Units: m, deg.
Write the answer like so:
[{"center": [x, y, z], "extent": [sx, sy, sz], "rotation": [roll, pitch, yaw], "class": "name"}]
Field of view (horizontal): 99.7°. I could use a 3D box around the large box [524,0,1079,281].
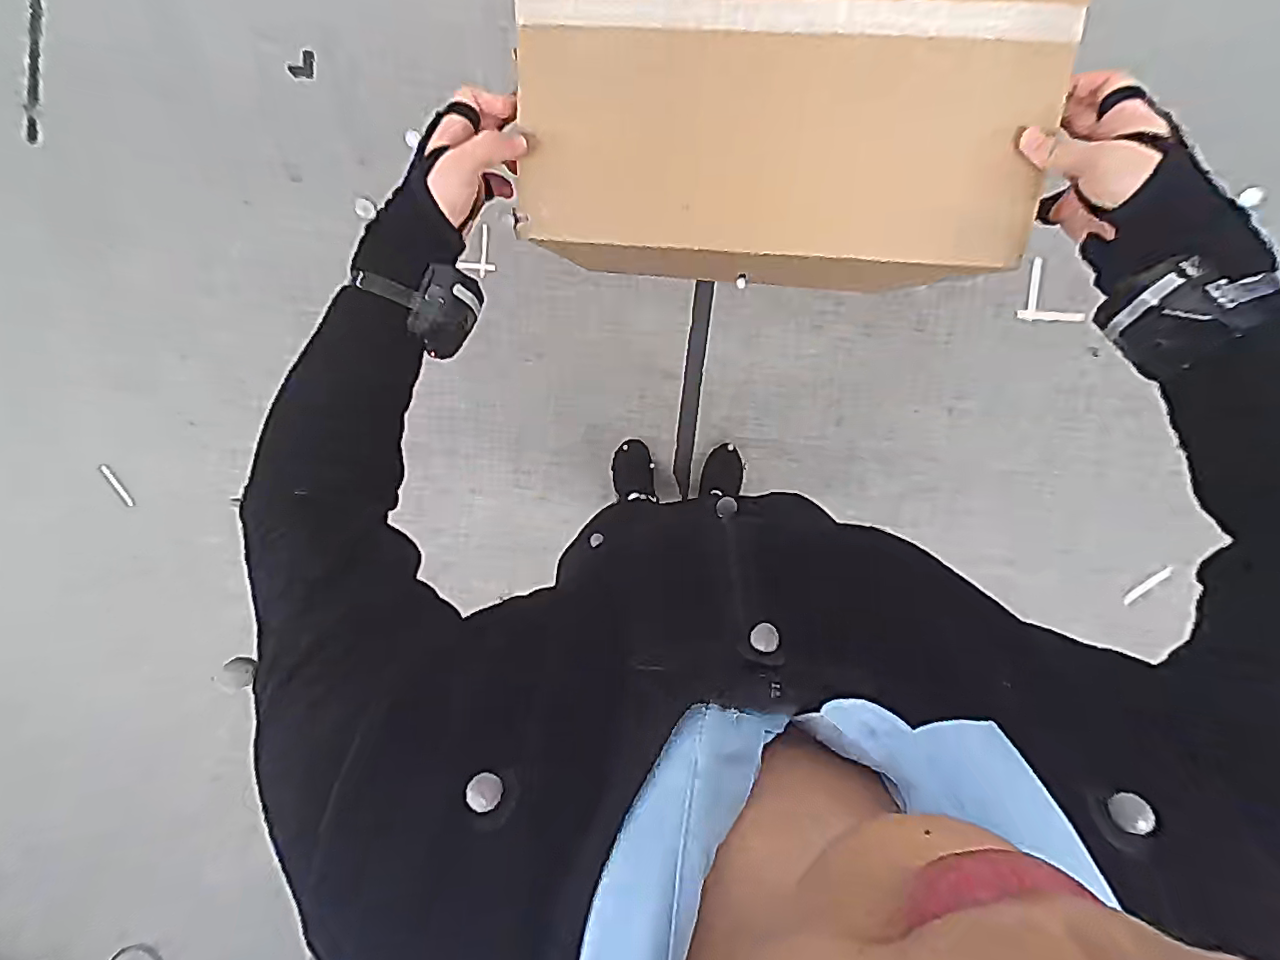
[{"center": [0.125, -0.377, 0.540], "extent": [0.408, 0.320, 0.320], "rotation": [5, 106, 5], "class": "large box"}]
